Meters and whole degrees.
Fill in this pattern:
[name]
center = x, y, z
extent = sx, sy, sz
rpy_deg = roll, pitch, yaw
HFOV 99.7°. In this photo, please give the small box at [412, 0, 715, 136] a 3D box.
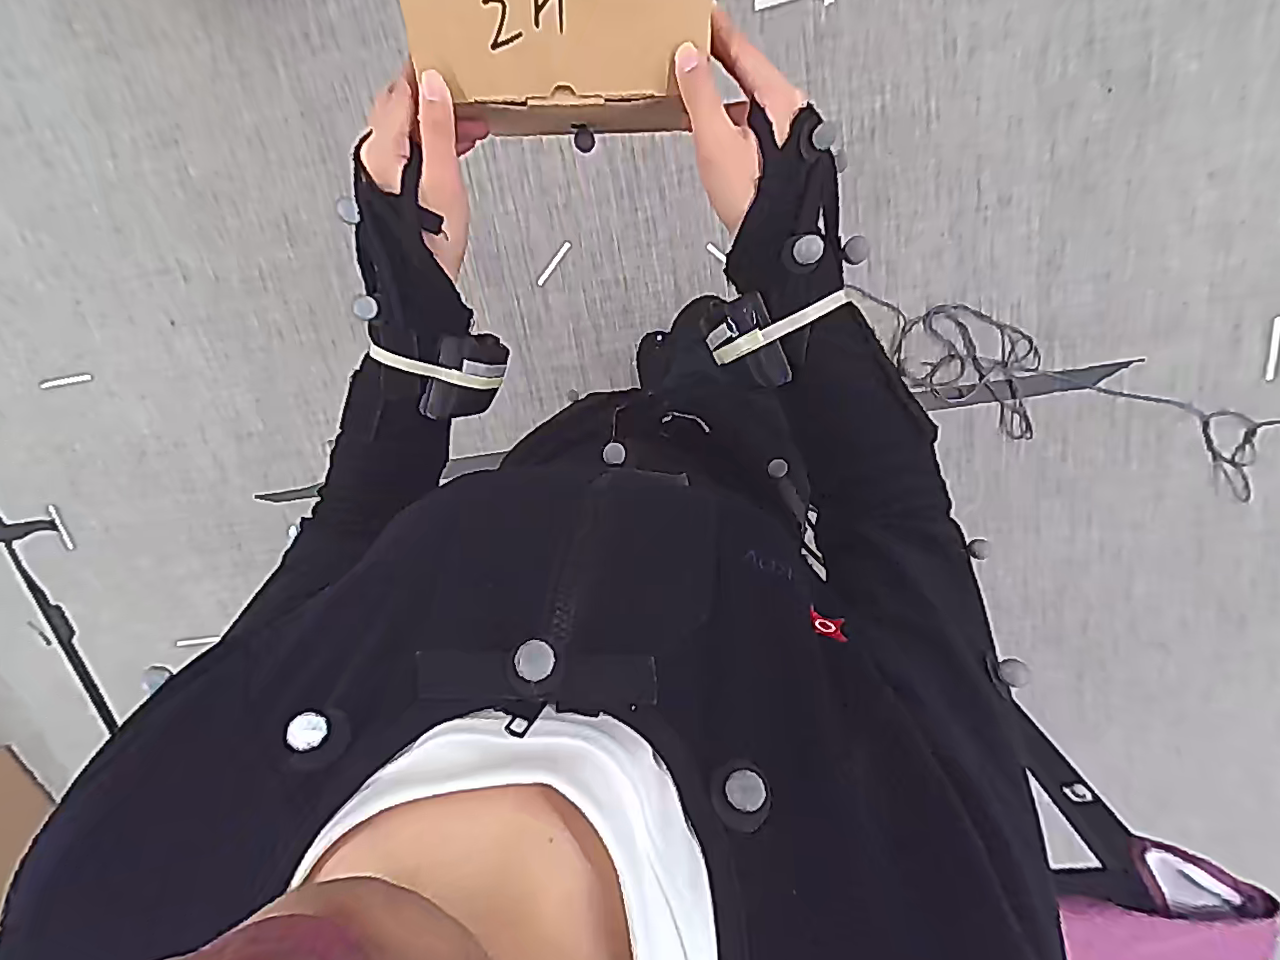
[small box]
center = -0.042, -0.333, 0.343
extent = 0.168, 0.176, 0.179
rpy_deg = -1, 117, 1
